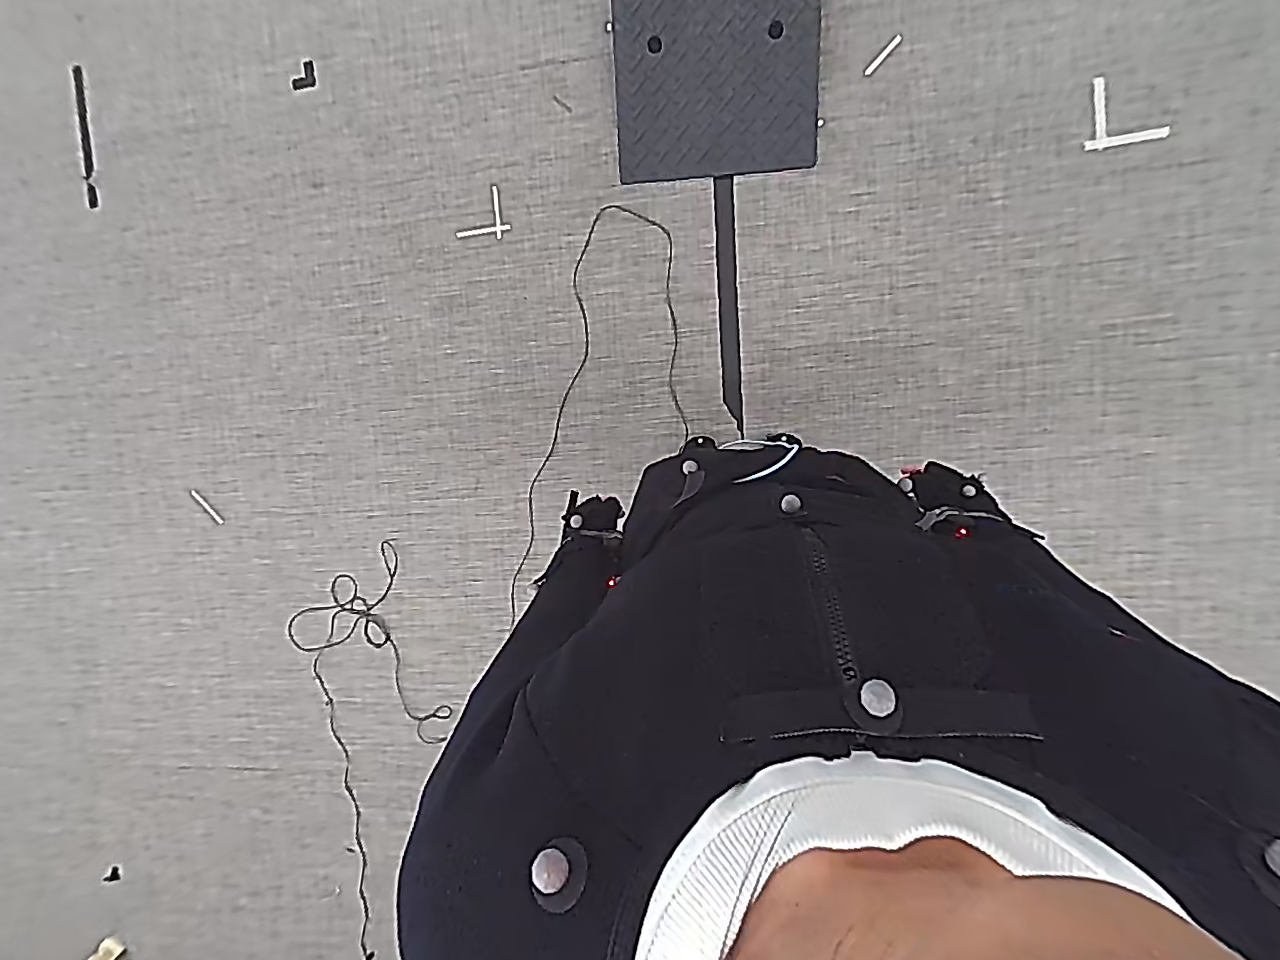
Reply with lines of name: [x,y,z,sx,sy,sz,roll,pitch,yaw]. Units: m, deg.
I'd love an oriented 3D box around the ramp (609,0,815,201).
ramp: [0.162,-1.229,1.277,0.509,0.206,0.991,-4,94,8]
